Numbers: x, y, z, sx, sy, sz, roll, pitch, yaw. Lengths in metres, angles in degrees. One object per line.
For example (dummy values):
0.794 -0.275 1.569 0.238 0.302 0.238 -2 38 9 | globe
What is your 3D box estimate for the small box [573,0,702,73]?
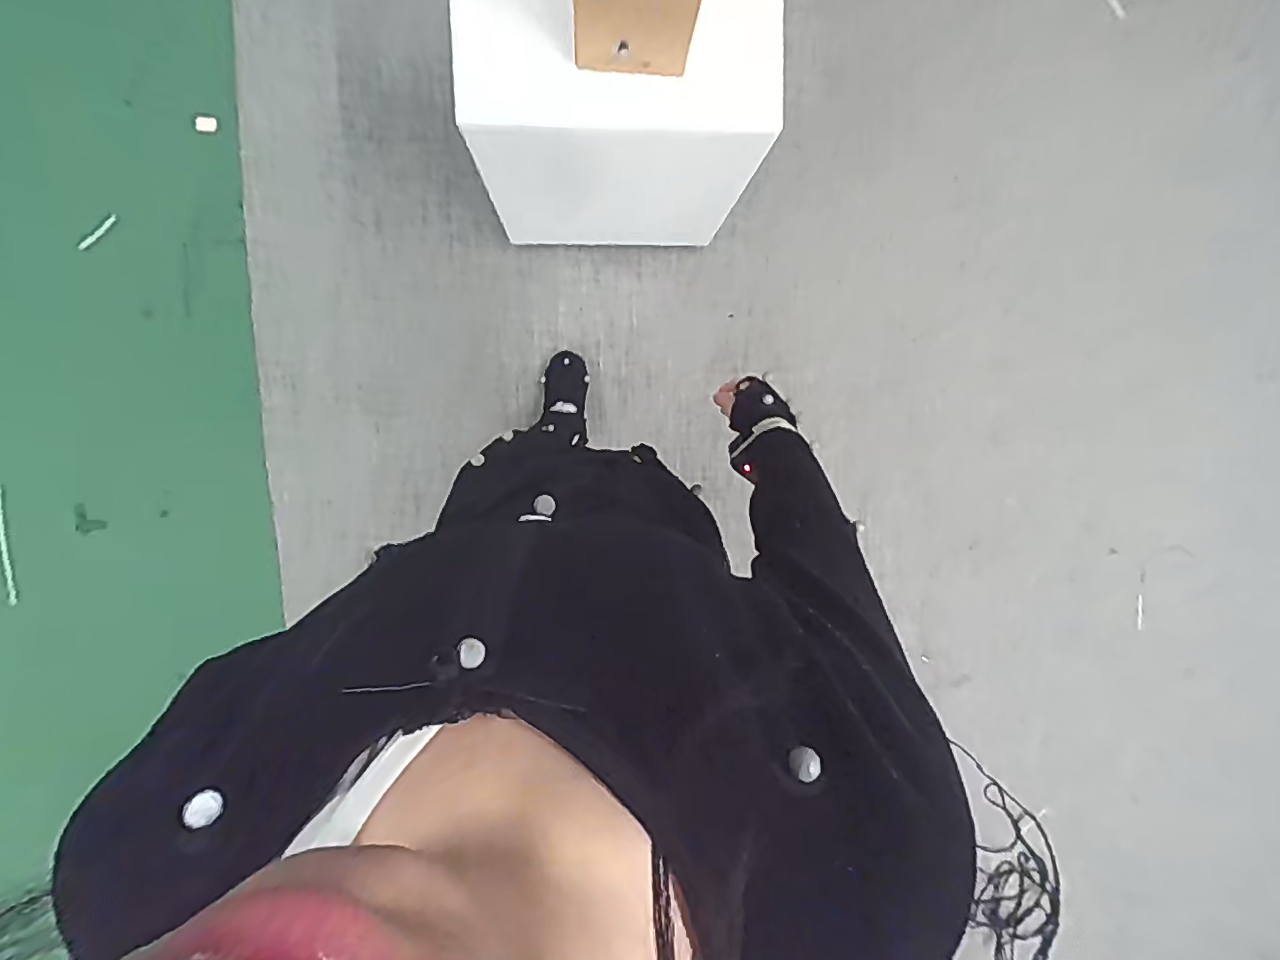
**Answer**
-0.007 -0.703 0.733 0.168 0.176 0.179 0 95 -5 | small box
